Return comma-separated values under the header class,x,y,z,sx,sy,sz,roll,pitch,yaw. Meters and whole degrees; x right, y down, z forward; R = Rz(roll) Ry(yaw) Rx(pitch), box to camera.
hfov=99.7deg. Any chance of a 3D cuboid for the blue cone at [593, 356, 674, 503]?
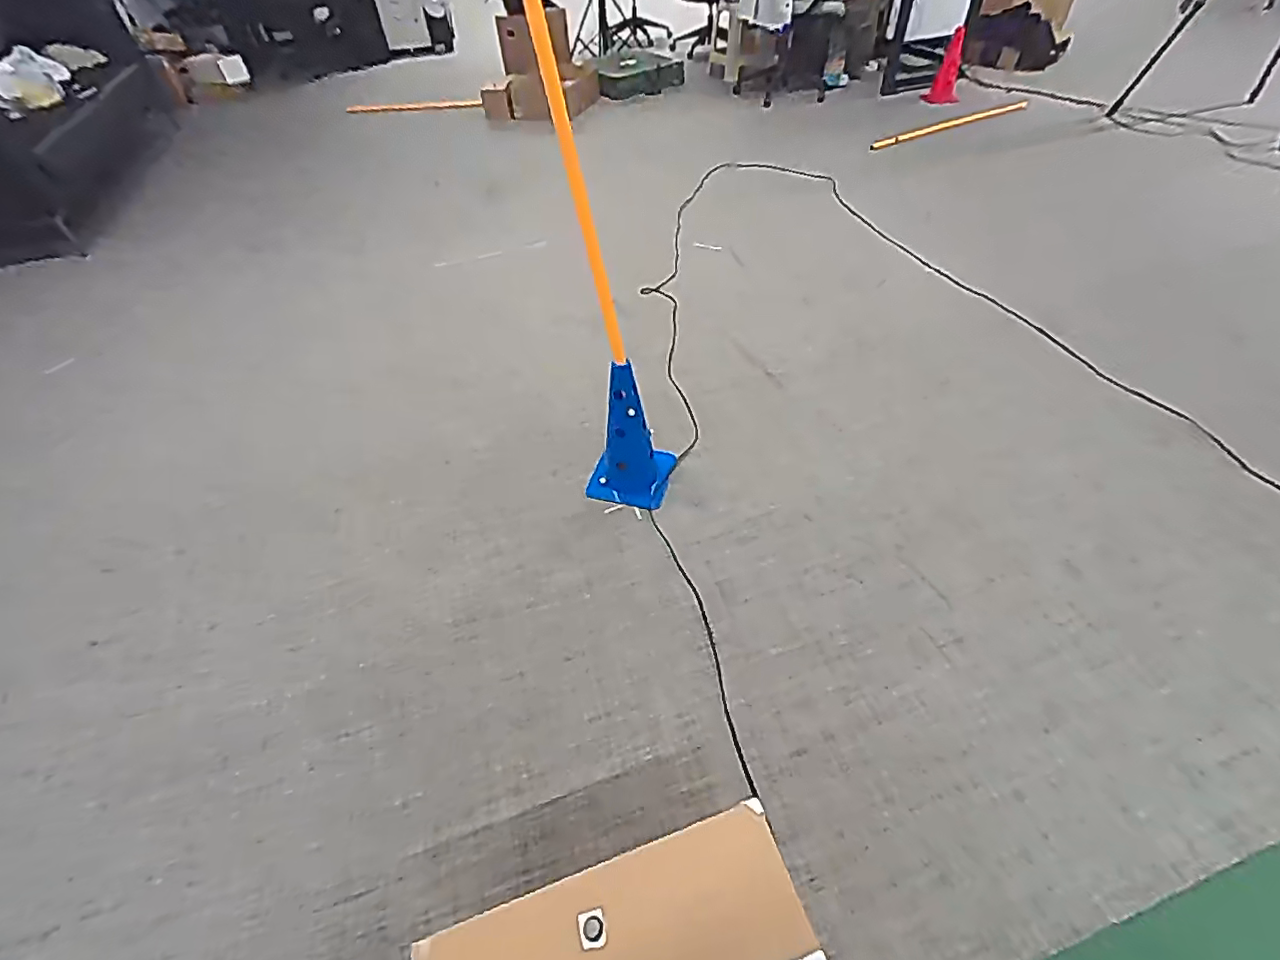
class,x,y,z,sx,sy,sz,roll,pitch,yaw
blue cone,-0.025,-0.126,1.273,0.192,0.380,0.193,9,50,12
